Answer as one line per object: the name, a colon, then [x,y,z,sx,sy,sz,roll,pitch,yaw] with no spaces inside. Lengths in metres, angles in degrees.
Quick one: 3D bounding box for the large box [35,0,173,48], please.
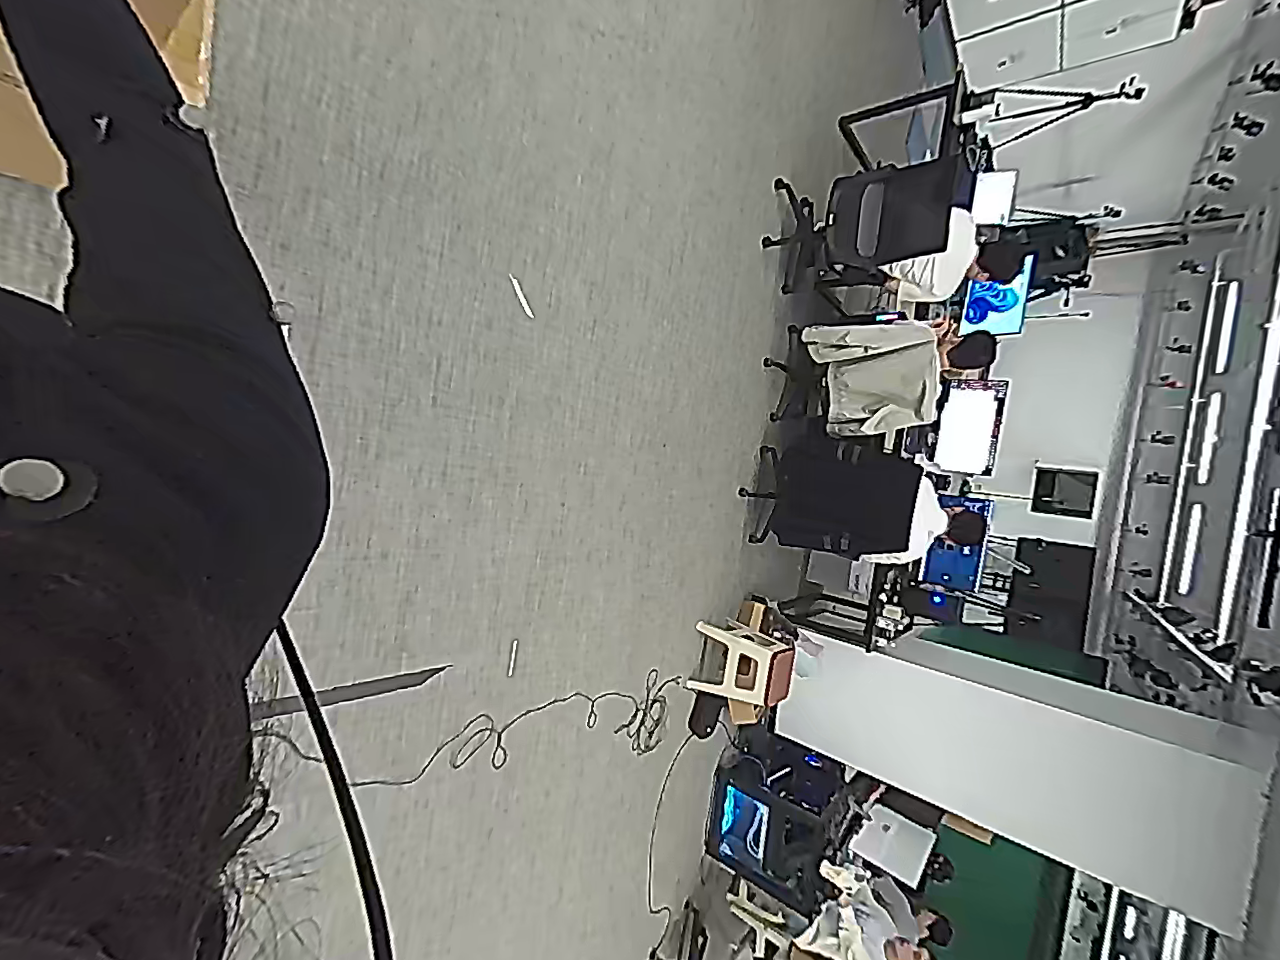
large box: [-0.598,-0.661,0.409,0.408,0.320,0.320,4,94,-54]
